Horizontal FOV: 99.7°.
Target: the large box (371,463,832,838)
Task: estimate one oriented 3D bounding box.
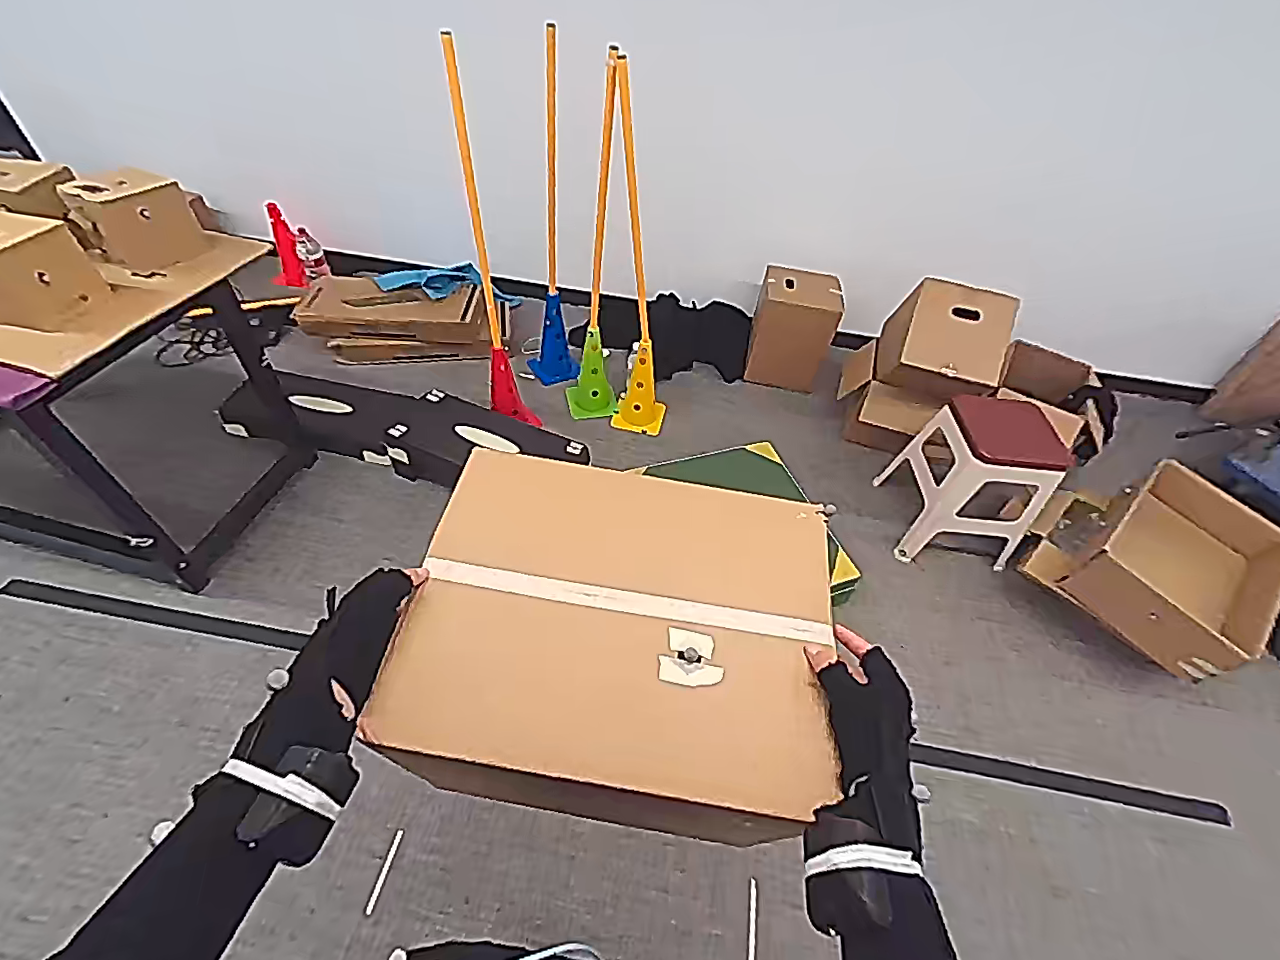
[{"bbox_3d":[-0.029,0.218,0.660,0.408,0.320,0.320,10,54,1],"label":"large box"}]
